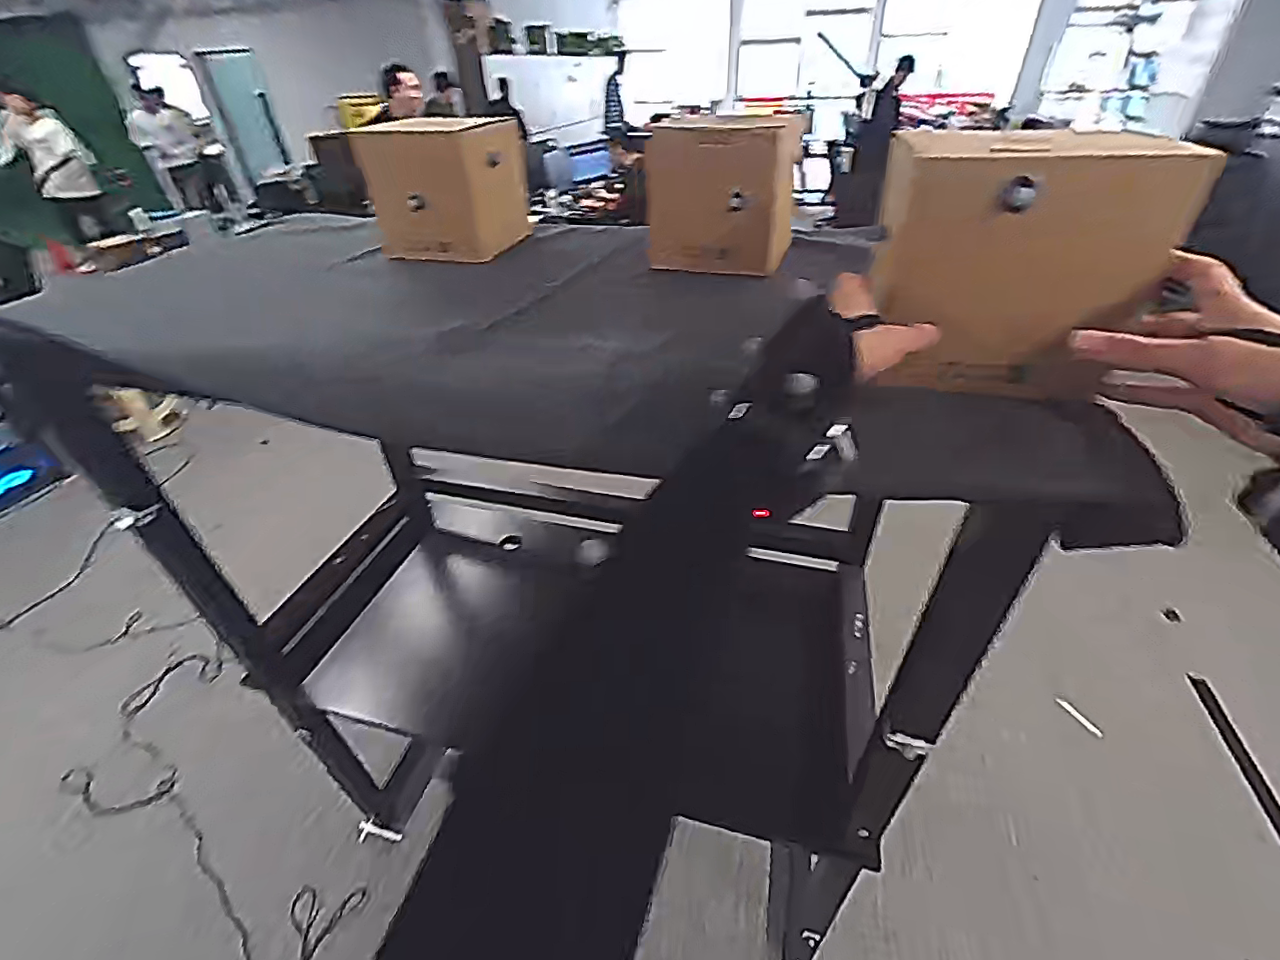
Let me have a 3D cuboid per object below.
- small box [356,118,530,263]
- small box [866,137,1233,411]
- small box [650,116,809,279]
[{"bbox_3d":[-0.279,-0.438,0.818,0.168,0.176,0.179,9,39,13],"label":"small box"},{"bbox_3d":[0.290,-0.176,0.442,0.168,0.176,0.179,8,37,14],"label":"small box"},{"bbox_3d":[0.121,-0.383,0.730,0.168,0.176,0.179,13,39,17],"label":"small box"}]
